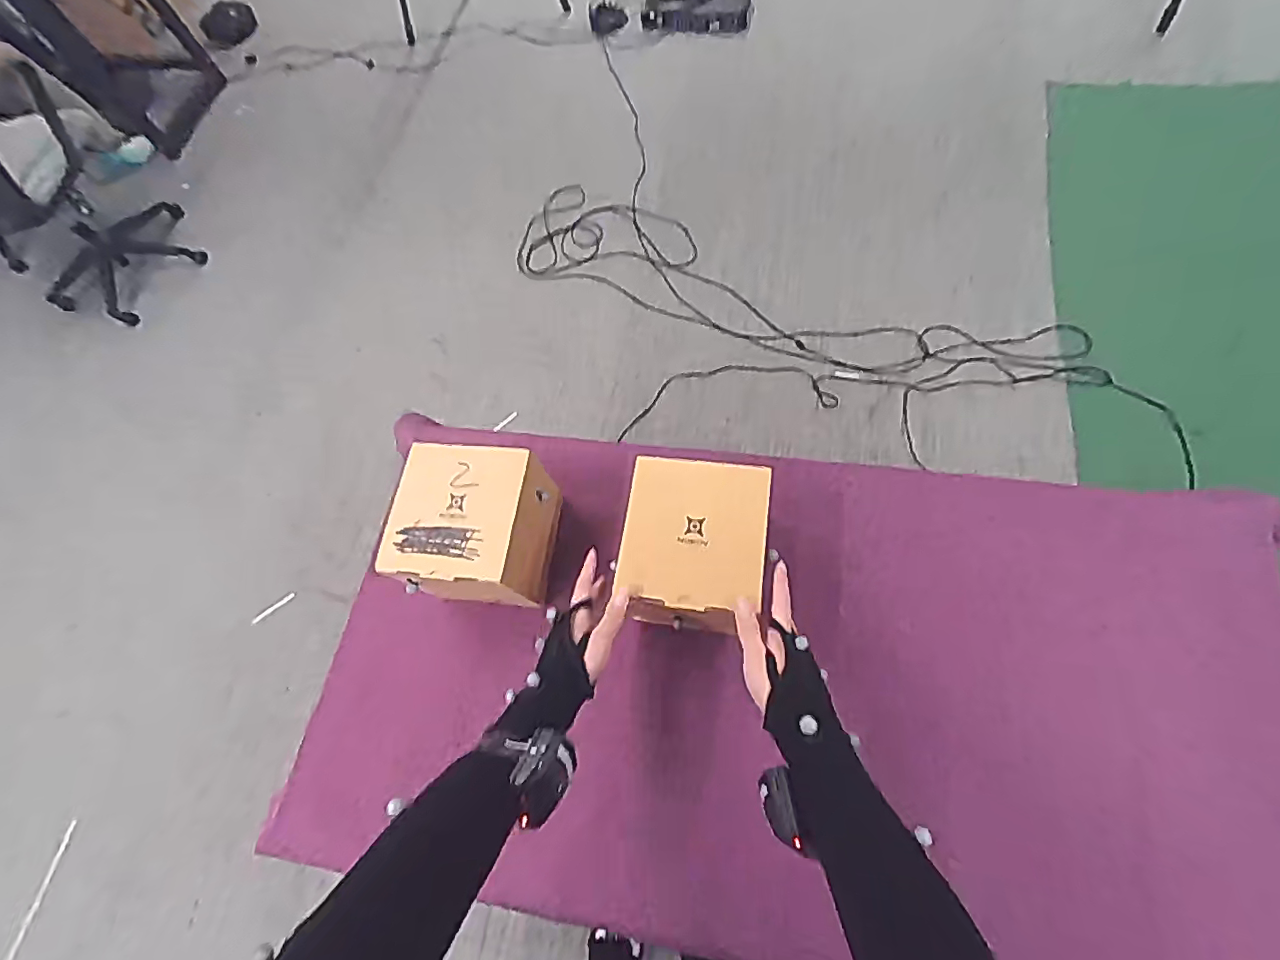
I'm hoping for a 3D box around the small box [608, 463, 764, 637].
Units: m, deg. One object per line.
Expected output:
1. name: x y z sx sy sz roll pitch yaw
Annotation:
1. small box: 0.066 0.096 0.701 0.168 0.176 0.179 5 69 11
